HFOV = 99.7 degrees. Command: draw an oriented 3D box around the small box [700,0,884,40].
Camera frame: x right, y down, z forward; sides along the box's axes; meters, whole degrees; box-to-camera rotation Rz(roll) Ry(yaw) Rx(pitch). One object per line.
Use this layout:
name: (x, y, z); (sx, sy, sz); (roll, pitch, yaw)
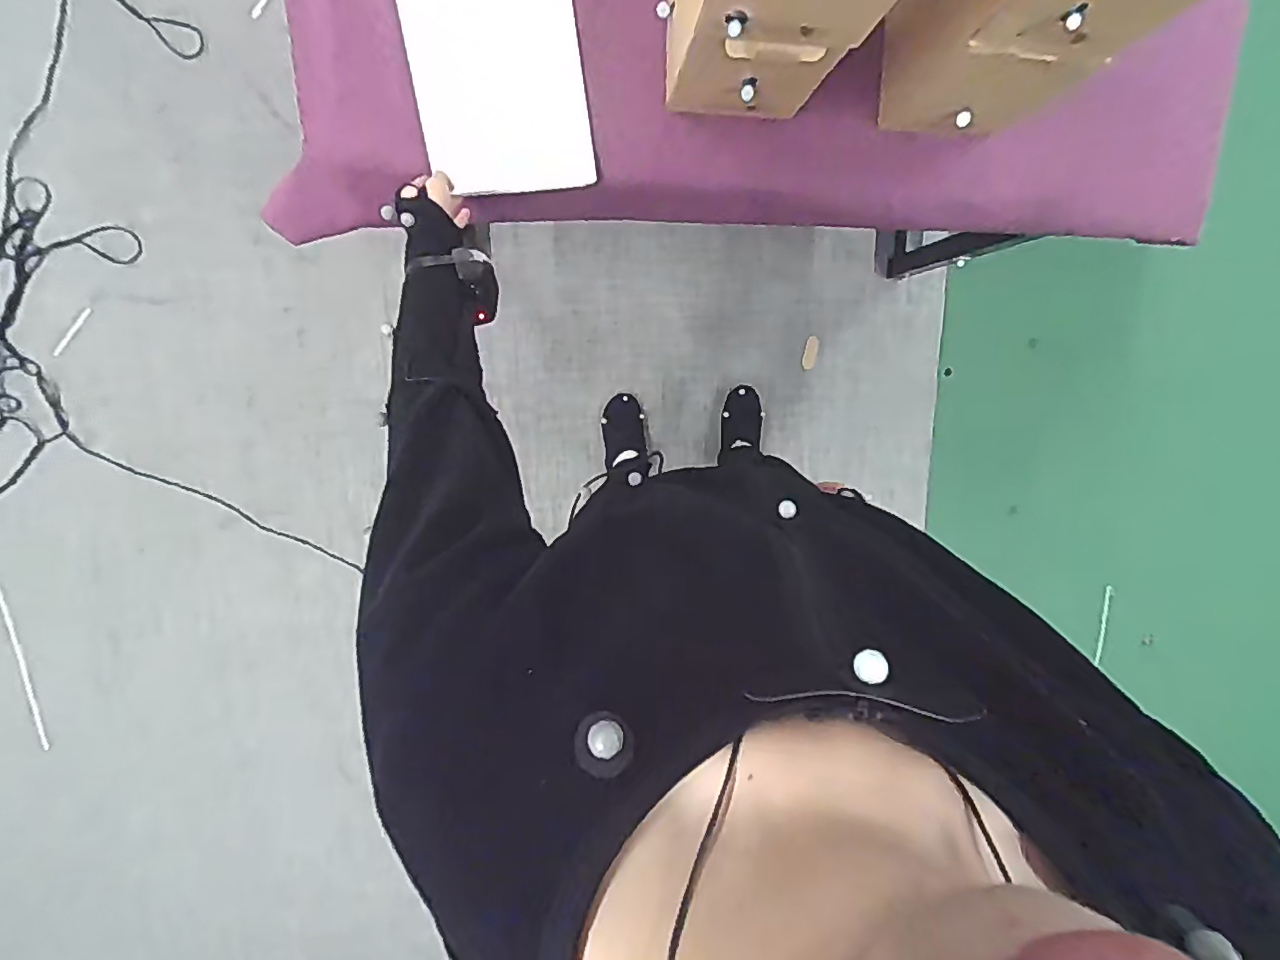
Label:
small box: (0.142, -0.495, 0.427); (0.168, 0.176, 0.179); (0, 100, -6)

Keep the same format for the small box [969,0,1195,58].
small box: (0.414, -0.507, 0.455); (0.168, 0.176, 0.179); (0, 100, -7)

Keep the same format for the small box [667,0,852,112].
small box: (0.124, -0.533, 0.587); (0.168, 0.176, 0.179); (0, 102, -7)
